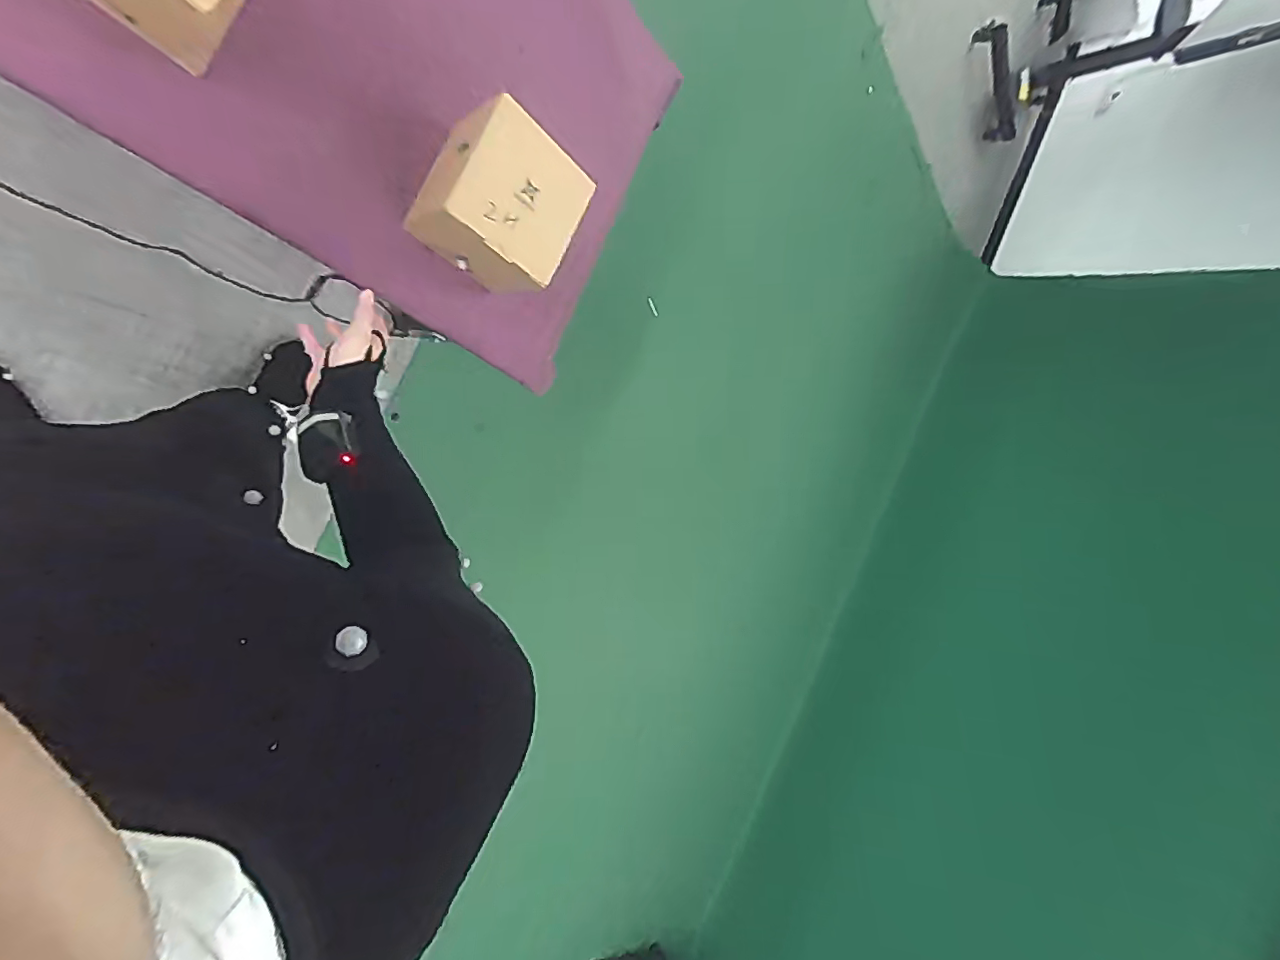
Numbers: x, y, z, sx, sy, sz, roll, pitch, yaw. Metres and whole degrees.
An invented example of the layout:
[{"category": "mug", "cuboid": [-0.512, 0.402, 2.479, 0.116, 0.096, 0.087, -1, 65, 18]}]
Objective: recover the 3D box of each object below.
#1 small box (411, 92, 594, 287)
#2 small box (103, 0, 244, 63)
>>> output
[{"category": "small box", "cuboid": [-0.205, -0.404, 0.787, 0.168, 0.176, 0.179, 30, 83, -42]}, {"category": "small box", "cuboid": [-0.465, -0.554, 0.510, 0.168, 0.176, 0.179, 29, 84, -44]}]
